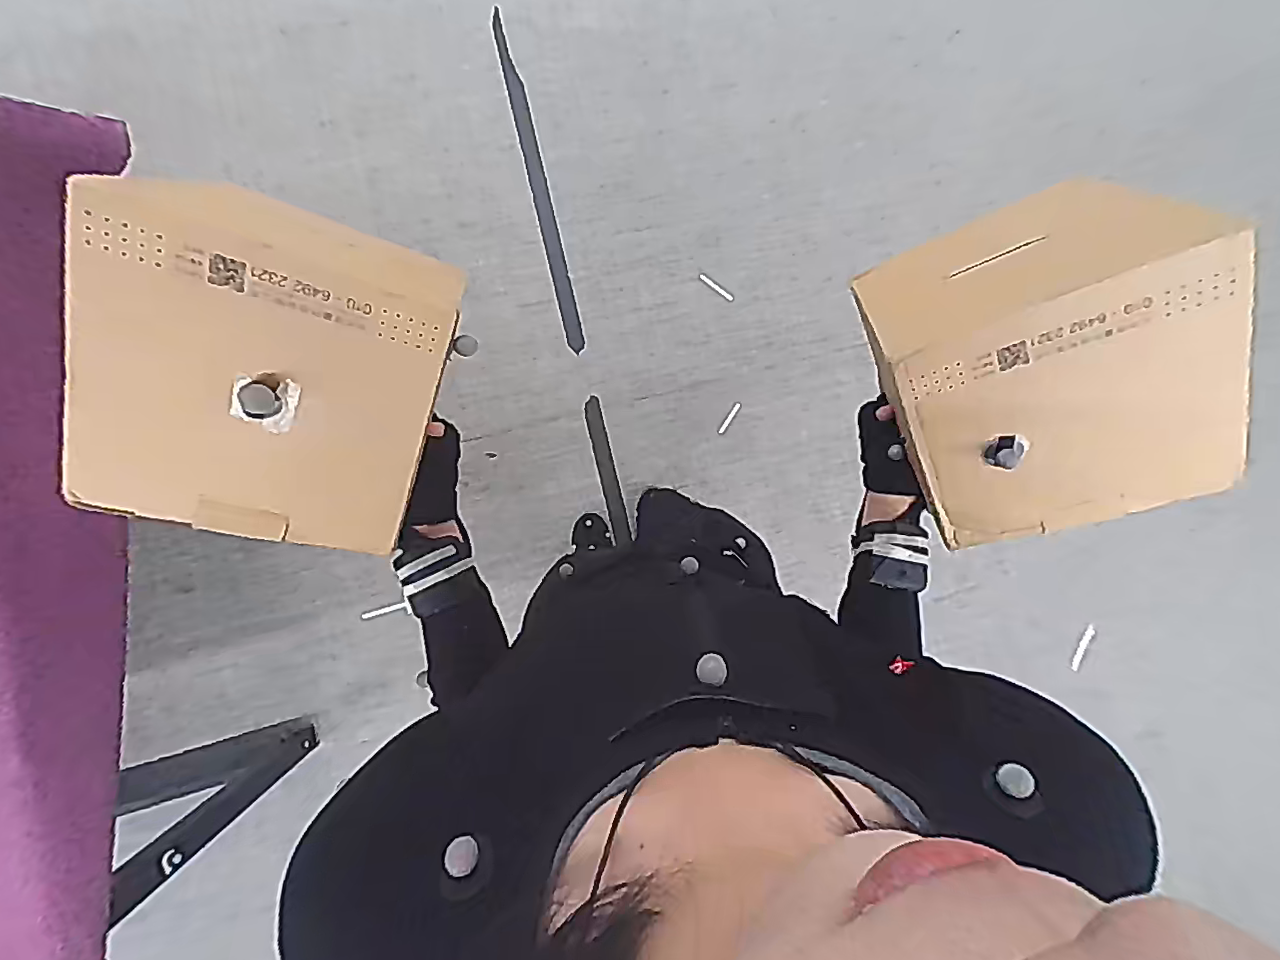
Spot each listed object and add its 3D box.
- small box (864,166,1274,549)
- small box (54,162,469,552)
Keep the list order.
[{"bbox_3d":[0.268,-0.086,0.373,0.168,0.179,0.176,-17,120,24],"label":"small box"},{"bbox_3d":[-0.215,-0.082,0.347,0.168,0.179,0.176,16,111,-22],"label":"small box"}]
